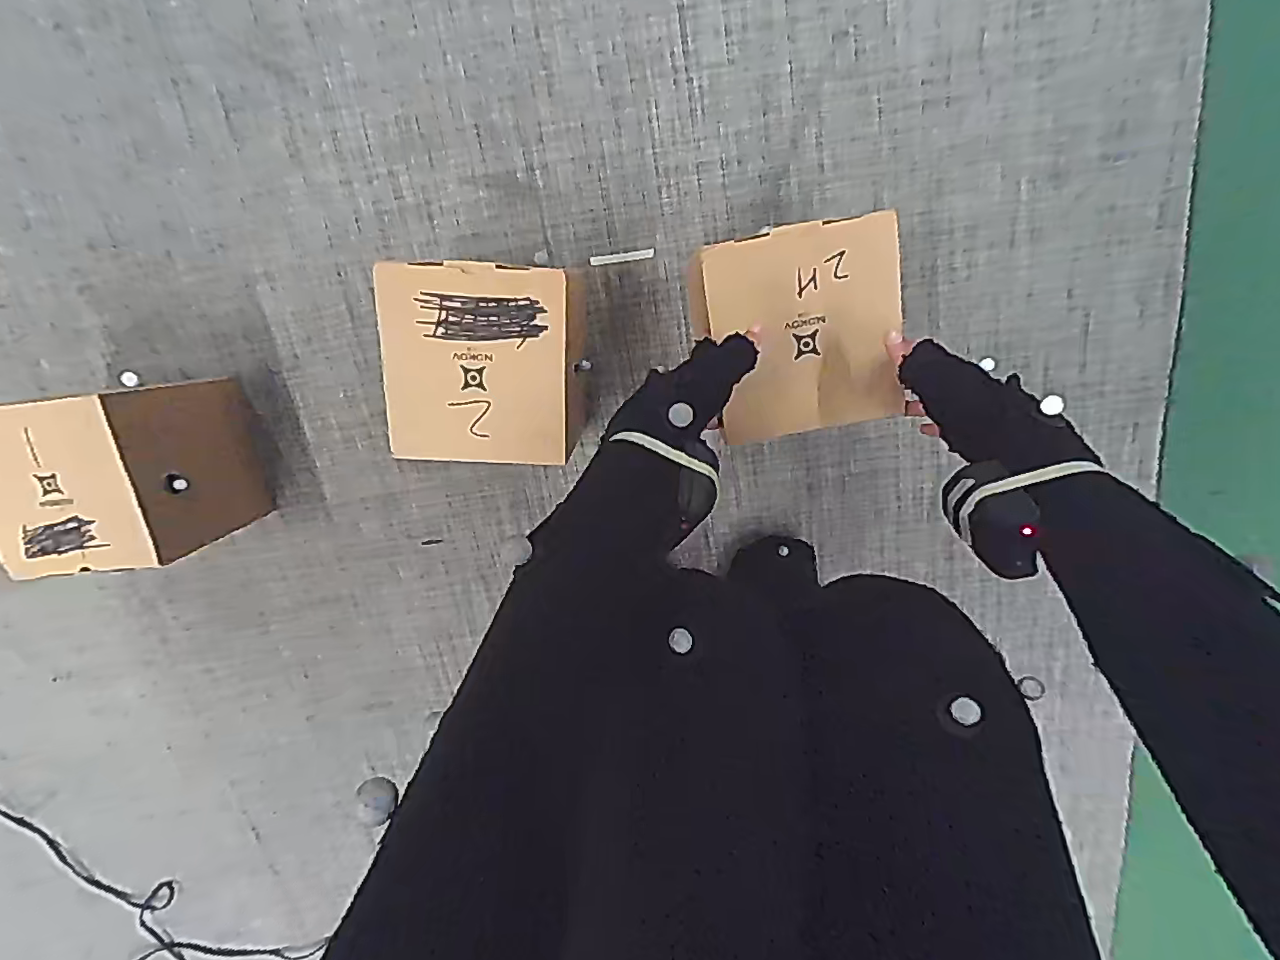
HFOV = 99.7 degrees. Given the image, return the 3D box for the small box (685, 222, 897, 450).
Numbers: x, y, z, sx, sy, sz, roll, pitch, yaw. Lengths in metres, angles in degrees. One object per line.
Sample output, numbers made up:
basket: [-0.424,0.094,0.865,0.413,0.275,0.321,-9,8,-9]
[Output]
small box: [0.143,-0.145,0.552,0.168,0.176,0.179,-10,106,3]

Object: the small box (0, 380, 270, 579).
small box: [-0.561,-0.009,0.605,0.168,0.176,0.179,-5,106,3]
